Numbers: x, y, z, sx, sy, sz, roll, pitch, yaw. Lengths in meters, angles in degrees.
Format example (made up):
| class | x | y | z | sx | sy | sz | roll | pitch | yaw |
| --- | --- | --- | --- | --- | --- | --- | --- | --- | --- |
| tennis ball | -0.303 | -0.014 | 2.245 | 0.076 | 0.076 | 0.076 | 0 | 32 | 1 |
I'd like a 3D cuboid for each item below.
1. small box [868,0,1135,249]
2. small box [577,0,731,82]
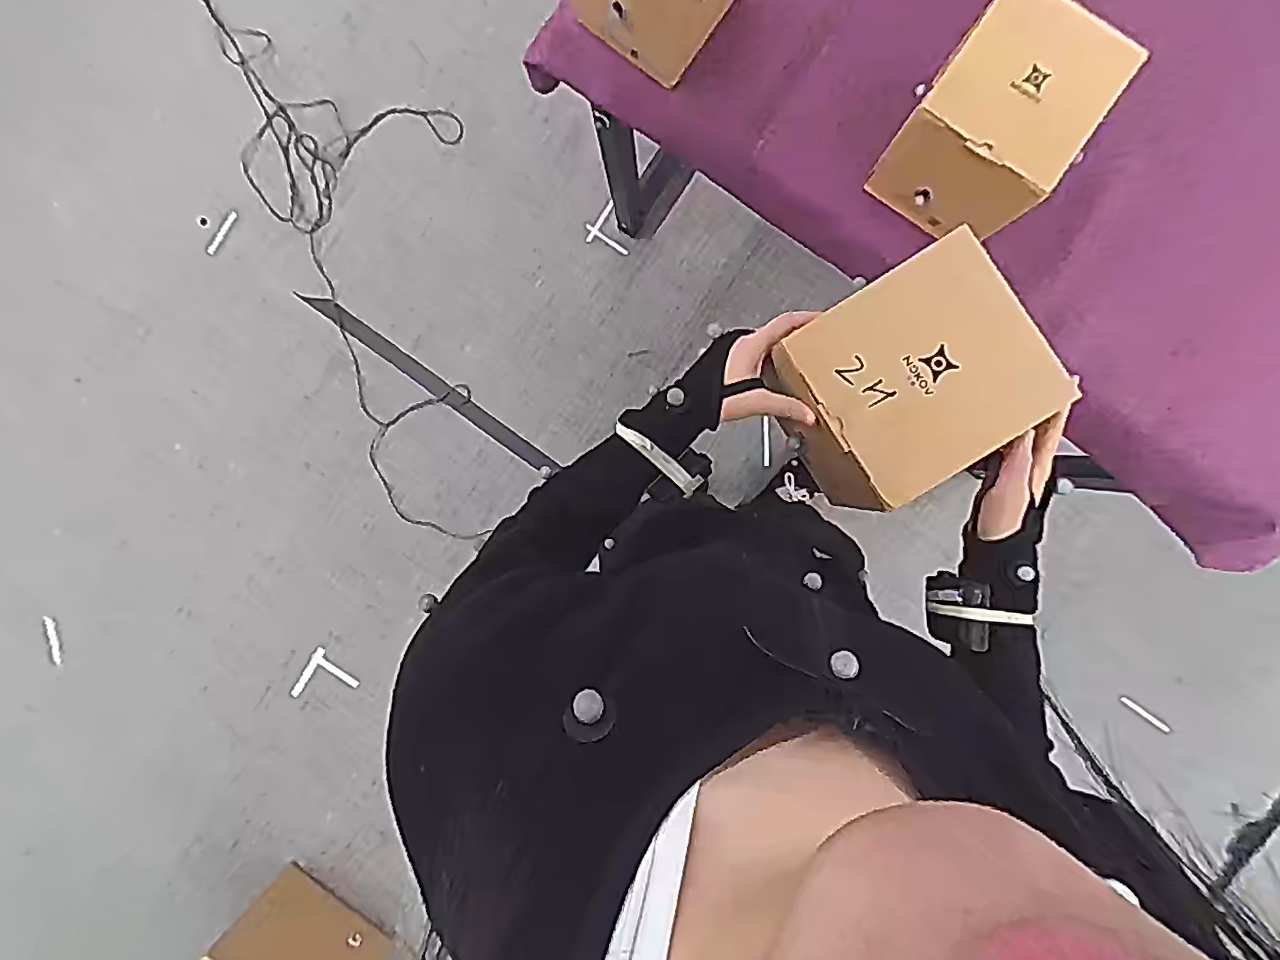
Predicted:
| class | x | y | z | sx | sy | sz | roll | pitch | yaw |
| --- | --- | --- | --- | --- | --- | --- | --- | --- | --- |
| small box | 0.411 | -0.421 | 0.652 | 0.168 | 0.176 | 0.179 | 34 | 93 | 0 |
| small box | 0.022 | -0.645 | 0.654 | 0.168 | 0.176 | 0.179 | 37 | 94 | -1 |
